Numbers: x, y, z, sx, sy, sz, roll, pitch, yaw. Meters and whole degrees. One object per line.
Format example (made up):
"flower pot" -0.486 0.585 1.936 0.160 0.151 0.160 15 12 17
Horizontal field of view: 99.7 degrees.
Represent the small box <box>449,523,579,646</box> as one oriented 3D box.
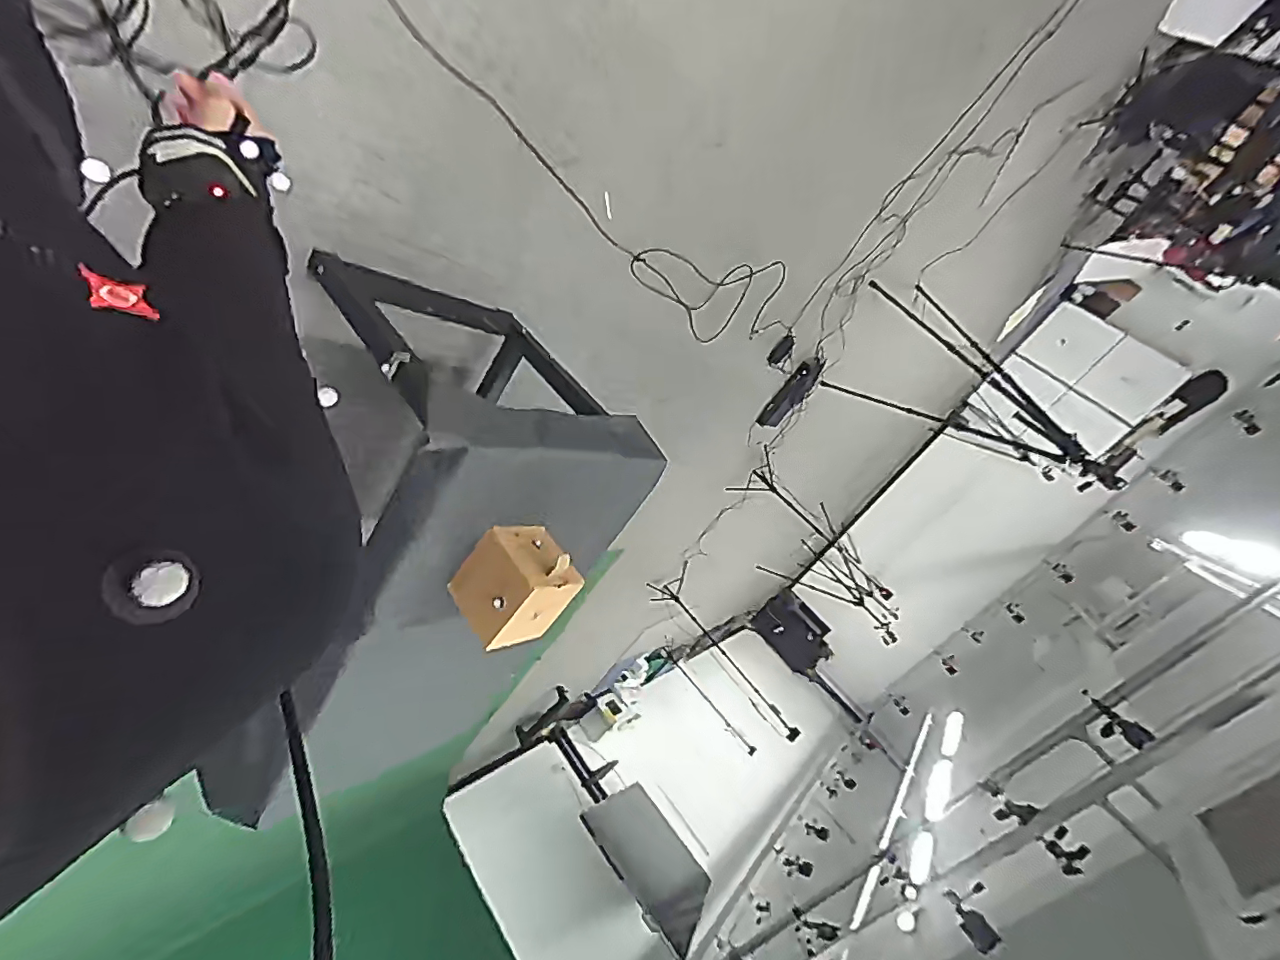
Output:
"small box" -0.267 0.211 1.125 0.179 0.176 0.168 -51 155 16
